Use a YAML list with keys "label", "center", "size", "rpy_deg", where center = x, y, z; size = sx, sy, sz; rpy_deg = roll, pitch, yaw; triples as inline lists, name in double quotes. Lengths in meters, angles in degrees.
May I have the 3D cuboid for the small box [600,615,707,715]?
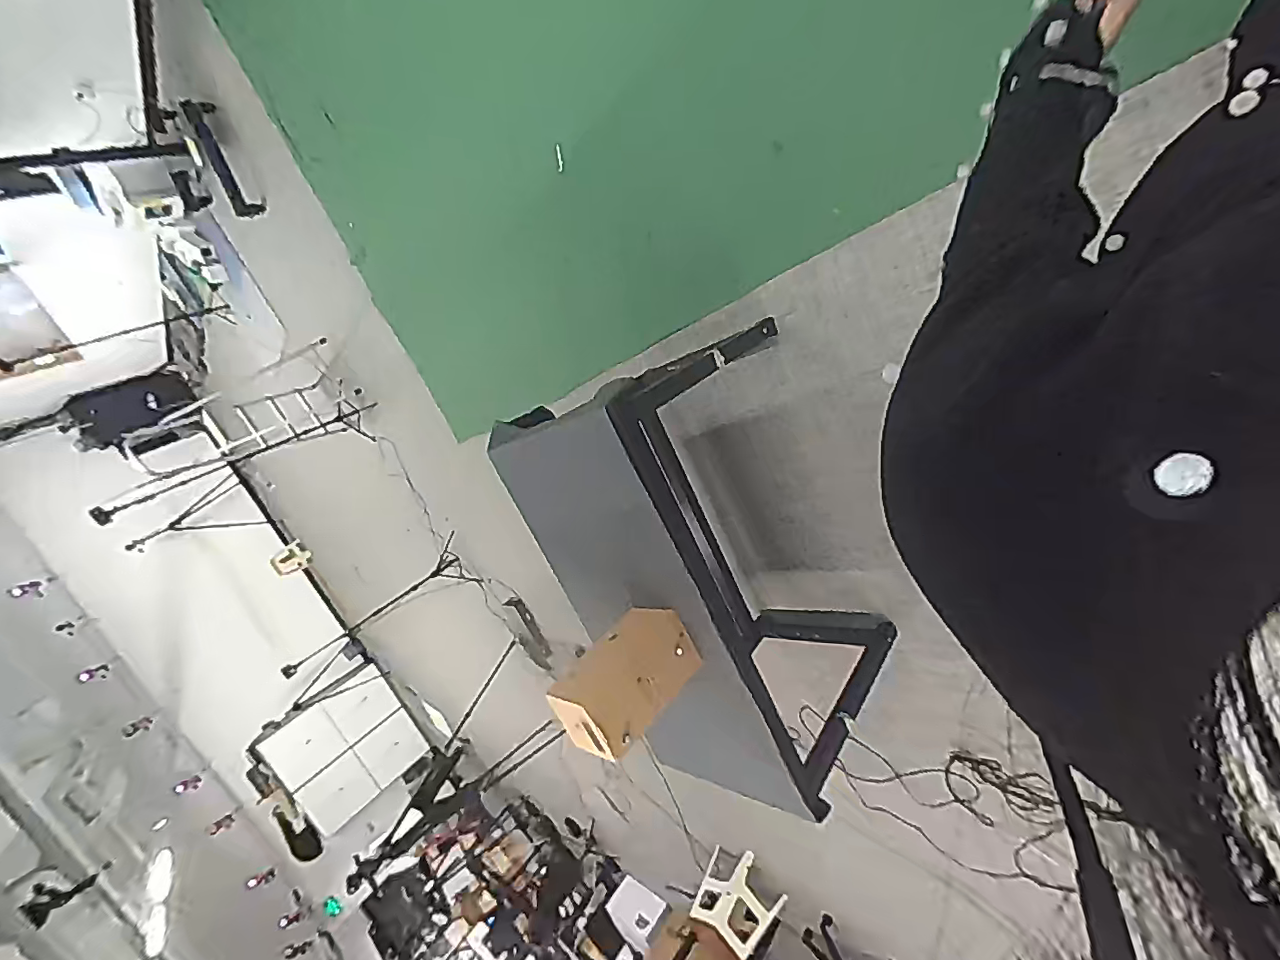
- label: "small box"
  center: [0.037, 0.462, 1.379]
  size: [0.179, 0.176, 0.168]
  rpy_deg: [-14, 108, 49]
